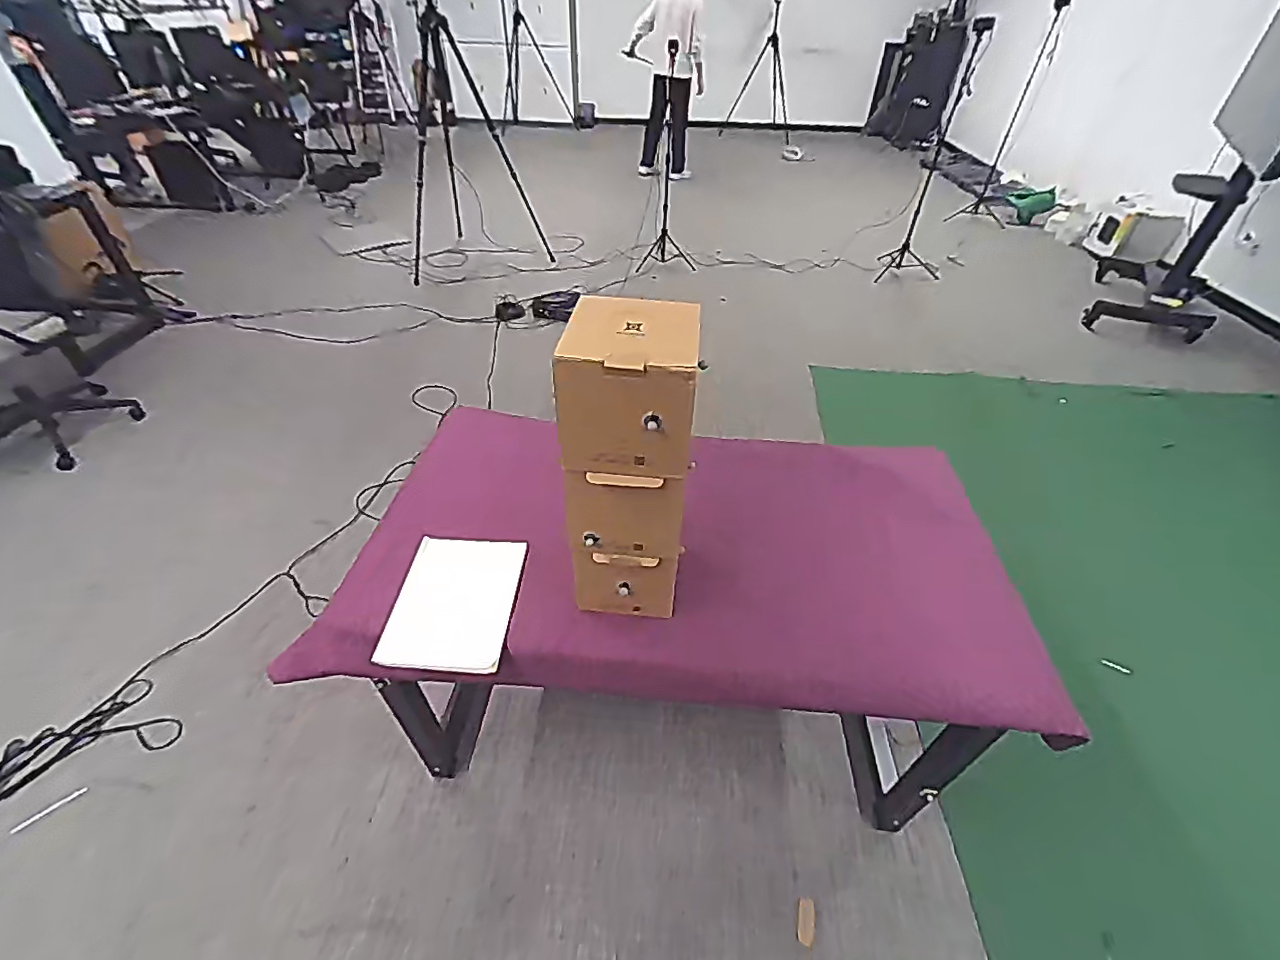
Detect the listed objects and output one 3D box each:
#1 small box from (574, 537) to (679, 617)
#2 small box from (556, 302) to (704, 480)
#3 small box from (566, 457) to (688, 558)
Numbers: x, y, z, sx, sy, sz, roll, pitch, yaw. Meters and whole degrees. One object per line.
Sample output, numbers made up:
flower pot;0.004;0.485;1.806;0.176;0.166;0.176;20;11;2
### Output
small box;-0.014;0.120;0.949;0.168;0.176;0.179;5;42;3
small box;-0.006;-0.119;0.724;0.168;0.176;0.179;6;41;4
small box;-0.010;0.000;0.835;0.168;0.176;0.179;5;40;4
